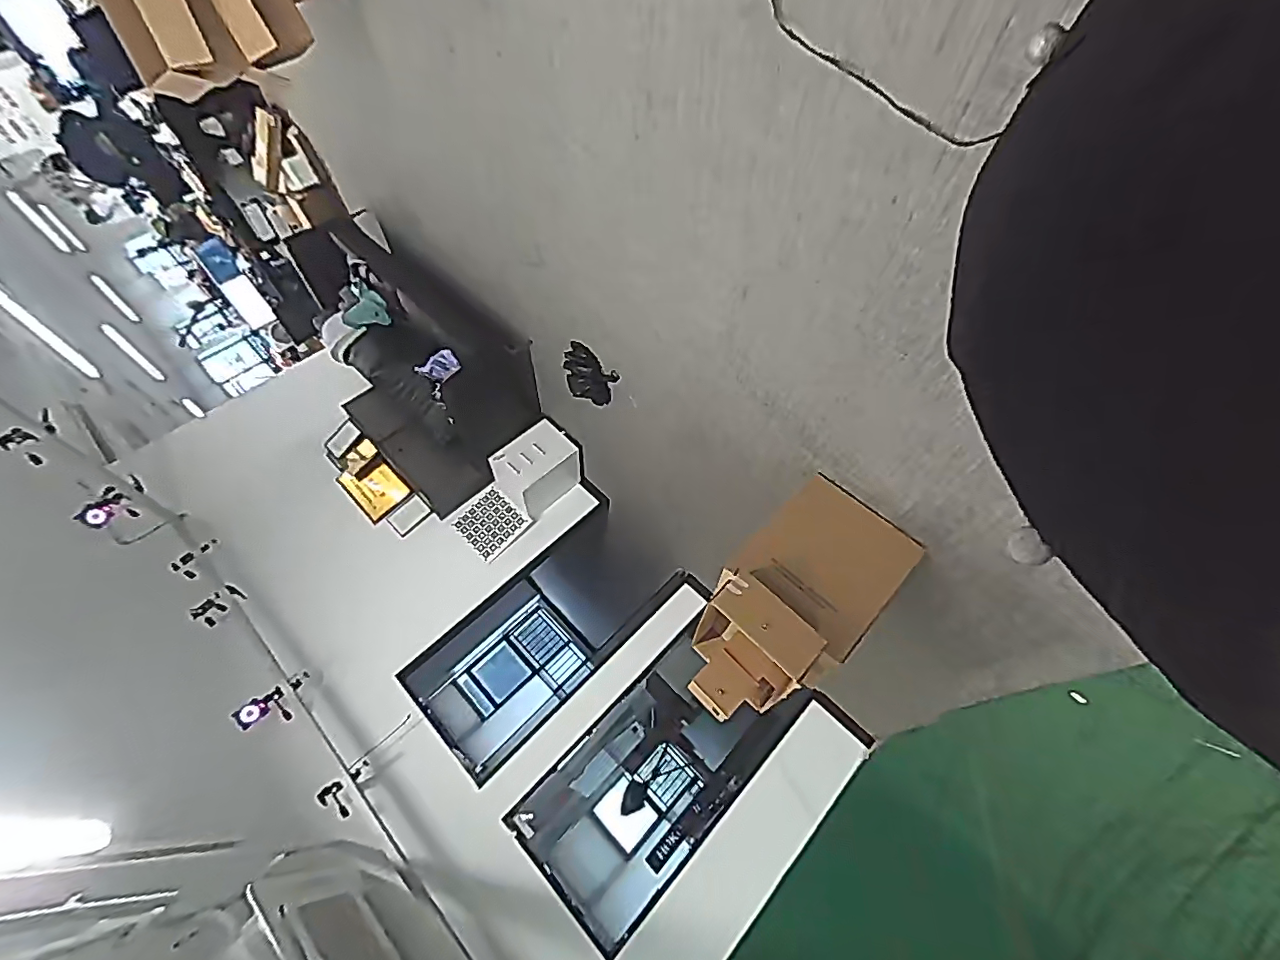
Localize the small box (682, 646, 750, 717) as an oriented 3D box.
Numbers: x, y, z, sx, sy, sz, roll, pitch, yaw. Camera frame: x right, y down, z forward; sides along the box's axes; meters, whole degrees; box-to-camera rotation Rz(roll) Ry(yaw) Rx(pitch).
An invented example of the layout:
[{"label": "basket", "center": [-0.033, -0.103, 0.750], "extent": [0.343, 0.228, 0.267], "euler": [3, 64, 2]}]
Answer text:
[{"label": "small box", "center": [0.282, 0.749, 2.012], "extent": [0.179, 0.176, 0.168], "euler": [44, 158, 19]}]

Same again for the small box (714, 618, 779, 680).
[{"label": "small box", "center": [0.401, 0.653, 2.075], "extent": [0.179, 0.176, 0.168], "euler": [42, 159, 22]}]
